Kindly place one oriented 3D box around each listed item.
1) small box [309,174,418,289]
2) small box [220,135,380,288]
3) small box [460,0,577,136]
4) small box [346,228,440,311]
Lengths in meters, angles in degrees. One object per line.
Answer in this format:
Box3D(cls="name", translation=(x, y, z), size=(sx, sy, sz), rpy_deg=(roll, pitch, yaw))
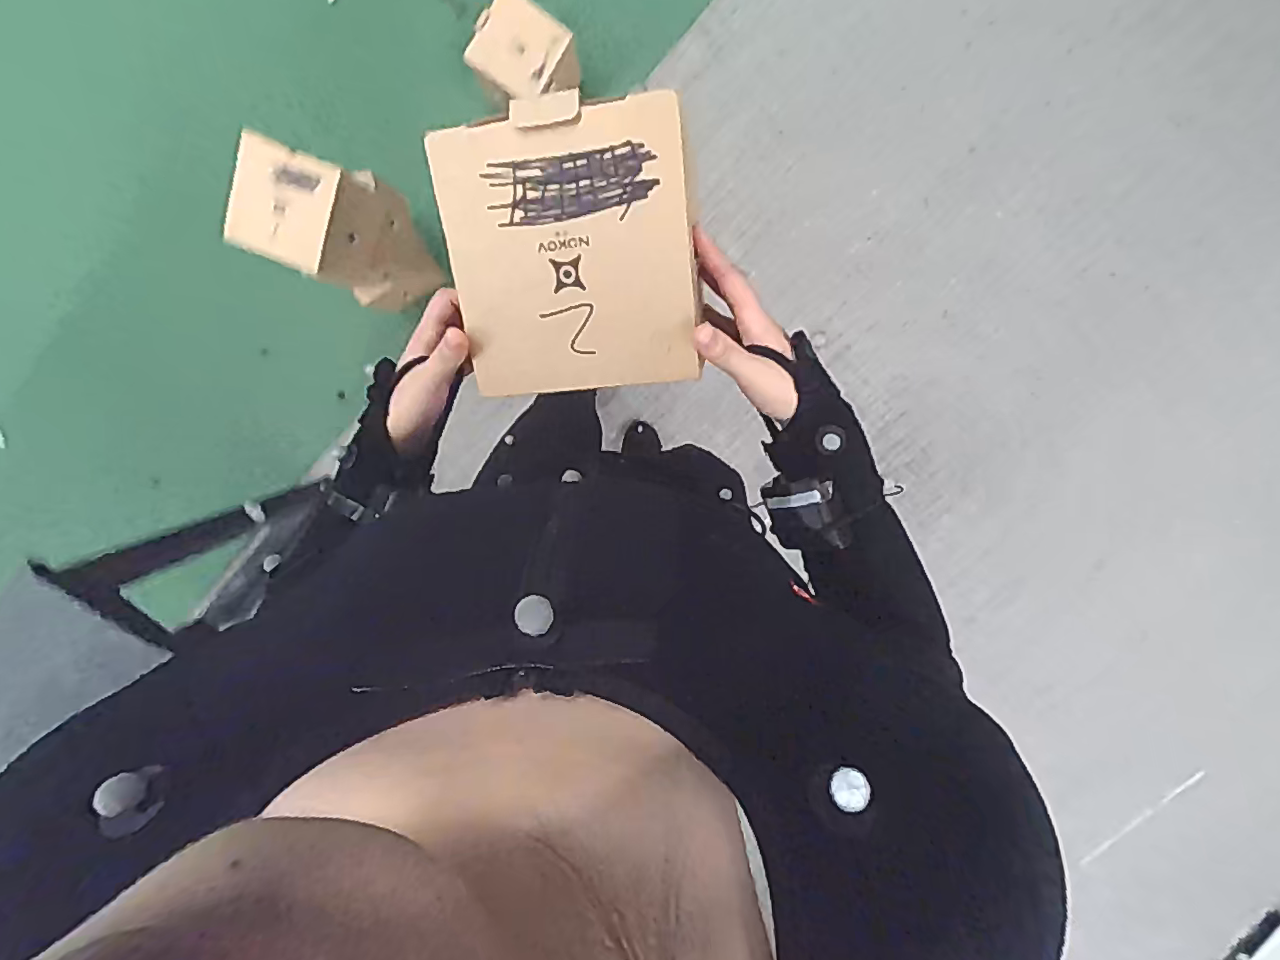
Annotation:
Box3D(cls="small box", translation=(-0.586, -0.504, 1.126), size=(0.168, 0.176, 0.179), rpy_deg=(-9, 101, 1))
Box3D(cls="small box", translation=(-0.593, -0.465, 0.966), size=(0.168, 0.176, 0.179), rpy_deg=(20, 102, -5))
Box3D(cls="small box", translation=(-0.261, -0.916, 1.204), size=(0.179, 0.176, 0.168), rpy_deg=(34, 99, -5))
Box3D(cls="small box", translation=(-0.611, -0.519, 1.289), size=(0.168, 0.176, 0.179), rpy_deg=(-29, 100, 5))
